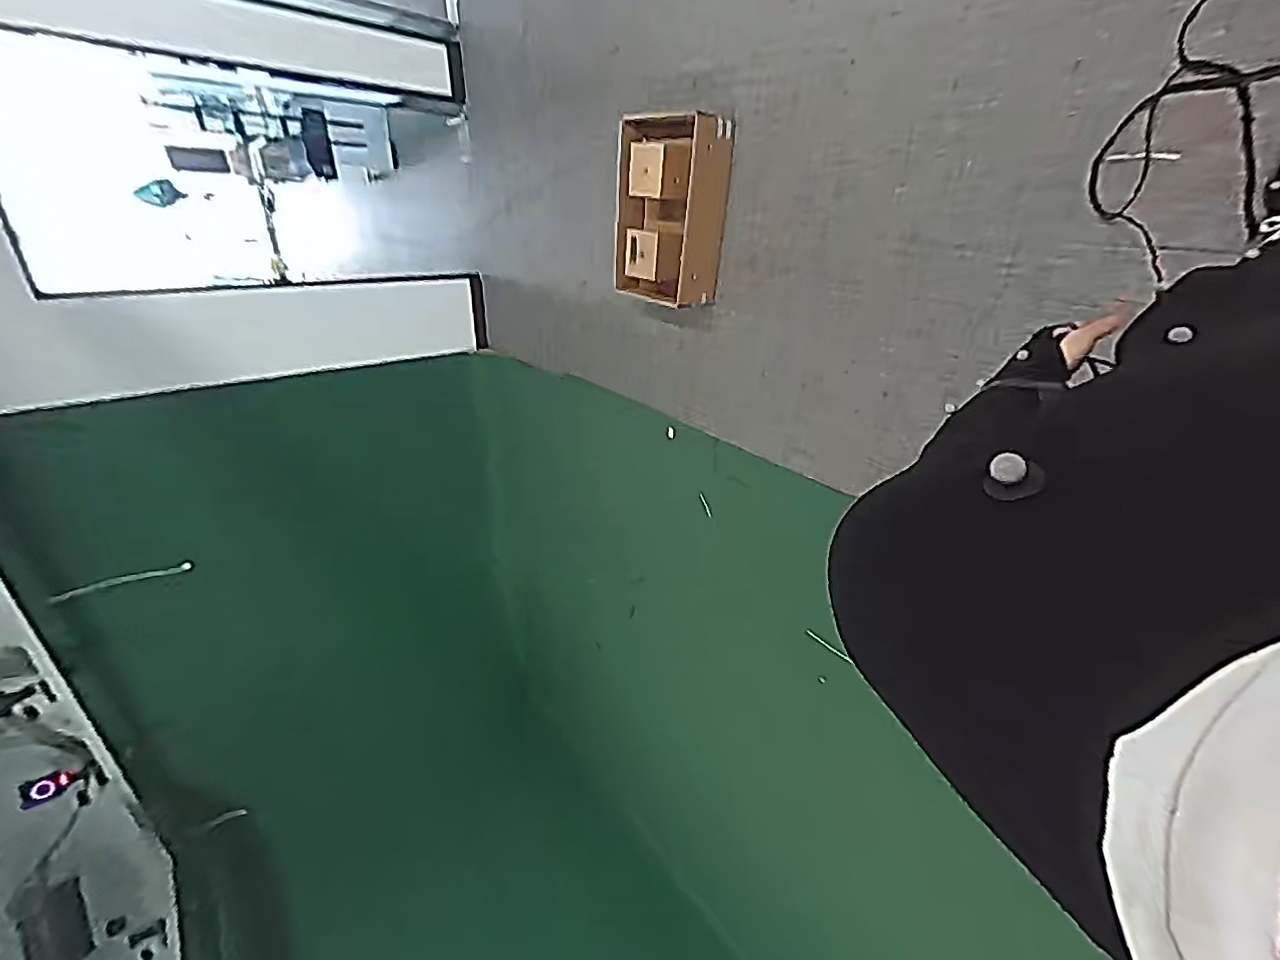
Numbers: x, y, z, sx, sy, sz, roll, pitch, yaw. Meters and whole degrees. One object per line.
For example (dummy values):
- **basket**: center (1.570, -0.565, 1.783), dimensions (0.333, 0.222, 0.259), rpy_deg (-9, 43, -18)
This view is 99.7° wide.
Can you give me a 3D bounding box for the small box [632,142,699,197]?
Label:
- **small box**: center (0.093, -1.125, 1.962), dimensions (0.179, 0.176, 0.168), rpy_deg (32, 129, 40)
